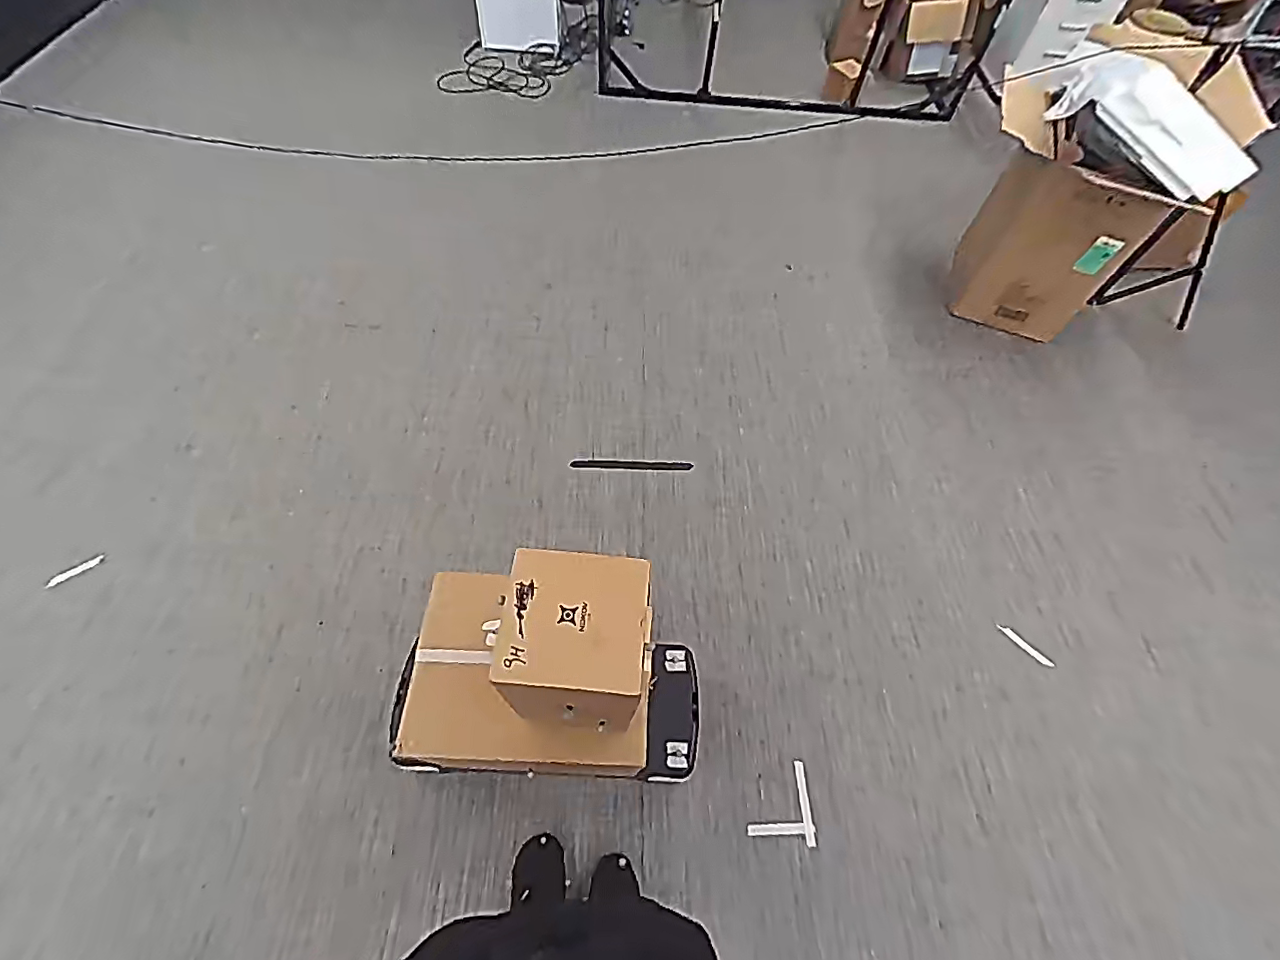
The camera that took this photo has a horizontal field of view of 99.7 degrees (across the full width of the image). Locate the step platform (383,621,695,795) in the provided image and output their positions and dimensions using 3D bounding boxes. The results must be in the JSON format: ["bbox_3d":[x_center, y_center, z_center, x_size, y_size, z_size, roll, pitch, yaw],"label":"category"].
[{"bbox_3d":[-0.214,0.523,1.254,0.684,0.204,0.286,8,59,2],"label":"step platform"}]

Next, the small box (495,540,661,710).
[{"bbox_3d":[-0.074,0.196,0.706,0.179,0.176,0.168,7,58,-1],"label":"small box"}]

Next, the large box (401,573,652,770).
[{"bbox_3d":[-0.183,0.387,1.061,0.408,0.320,0.320,3,58,-1],"label":"large box"}]

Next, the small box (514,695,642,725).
[{"bbox_3d":[-0.083,0.280,0.846,0.179,0.176,0.168,7,59,1],"label":"small box"}]
